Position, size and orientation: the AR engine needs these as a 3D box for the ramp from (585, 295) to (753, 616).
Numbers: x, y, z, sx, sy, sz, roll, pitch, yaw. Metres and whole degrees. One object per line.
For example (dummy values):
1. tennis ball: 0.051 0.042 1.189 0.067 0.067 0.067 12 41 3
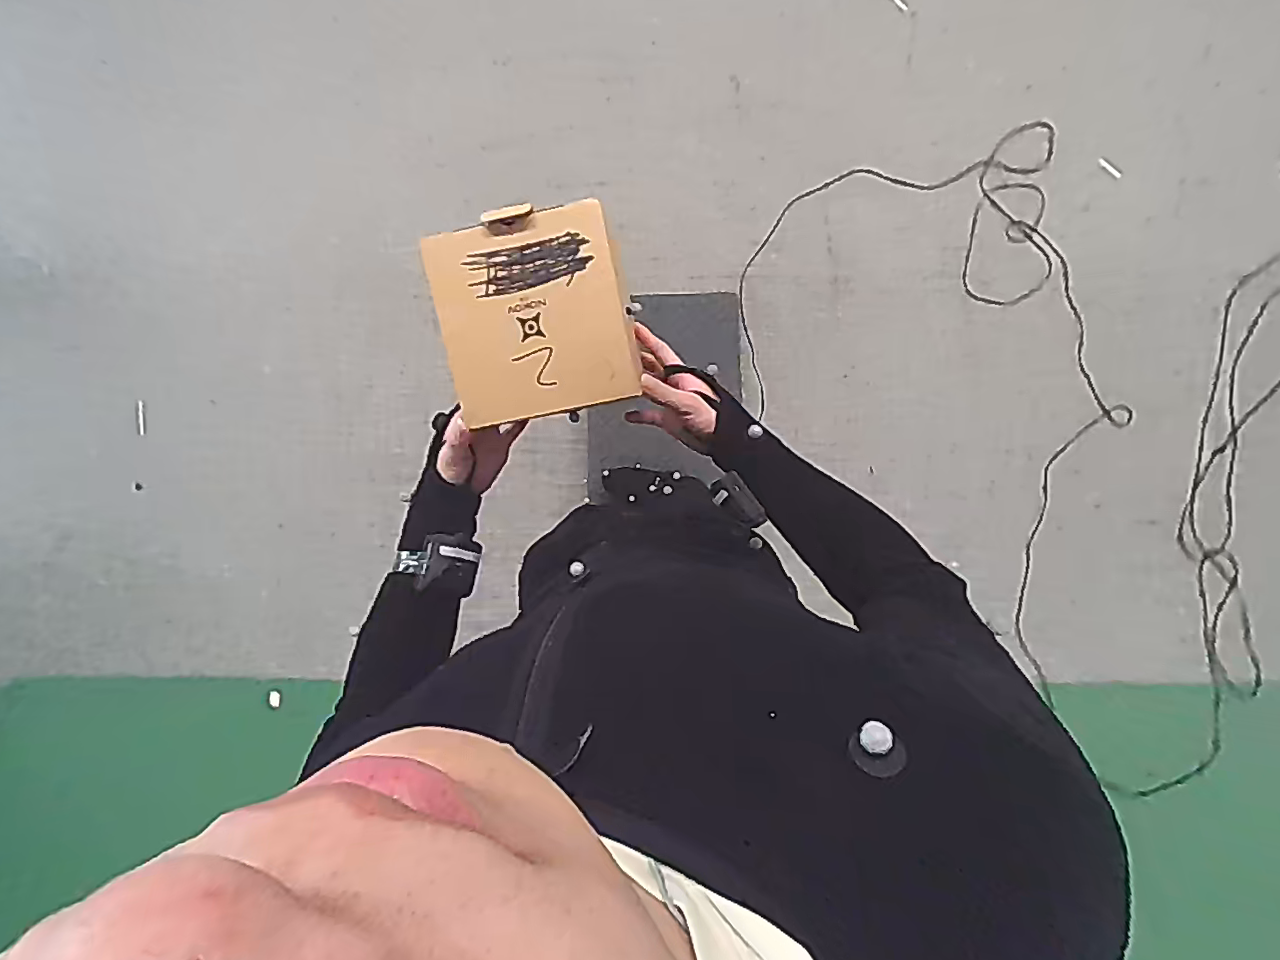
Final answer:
1. ramp: 0.076 -0.094 1.672 0.509 0.206 0.991 -3 92 2
